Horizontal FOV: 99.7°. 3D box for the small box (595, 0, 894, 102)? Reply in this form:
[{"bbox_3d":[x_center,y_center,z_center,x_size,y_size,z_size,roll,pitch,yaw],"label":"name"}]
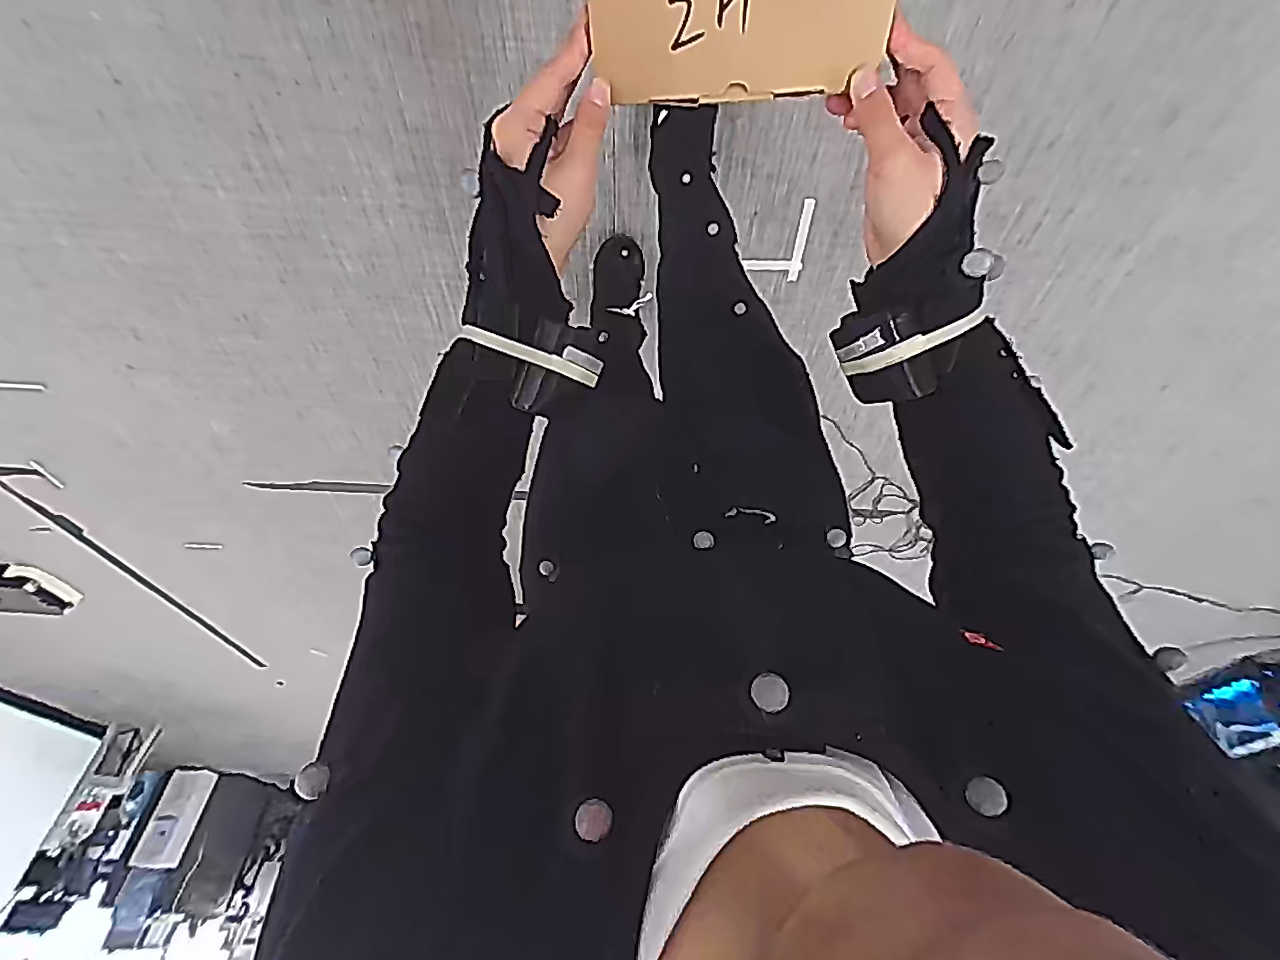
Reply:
[{"bbox_3d":[0.054,-0.346,0.324,0.168,0.176,0.179,-2,133,2],"label":"small box"}]
